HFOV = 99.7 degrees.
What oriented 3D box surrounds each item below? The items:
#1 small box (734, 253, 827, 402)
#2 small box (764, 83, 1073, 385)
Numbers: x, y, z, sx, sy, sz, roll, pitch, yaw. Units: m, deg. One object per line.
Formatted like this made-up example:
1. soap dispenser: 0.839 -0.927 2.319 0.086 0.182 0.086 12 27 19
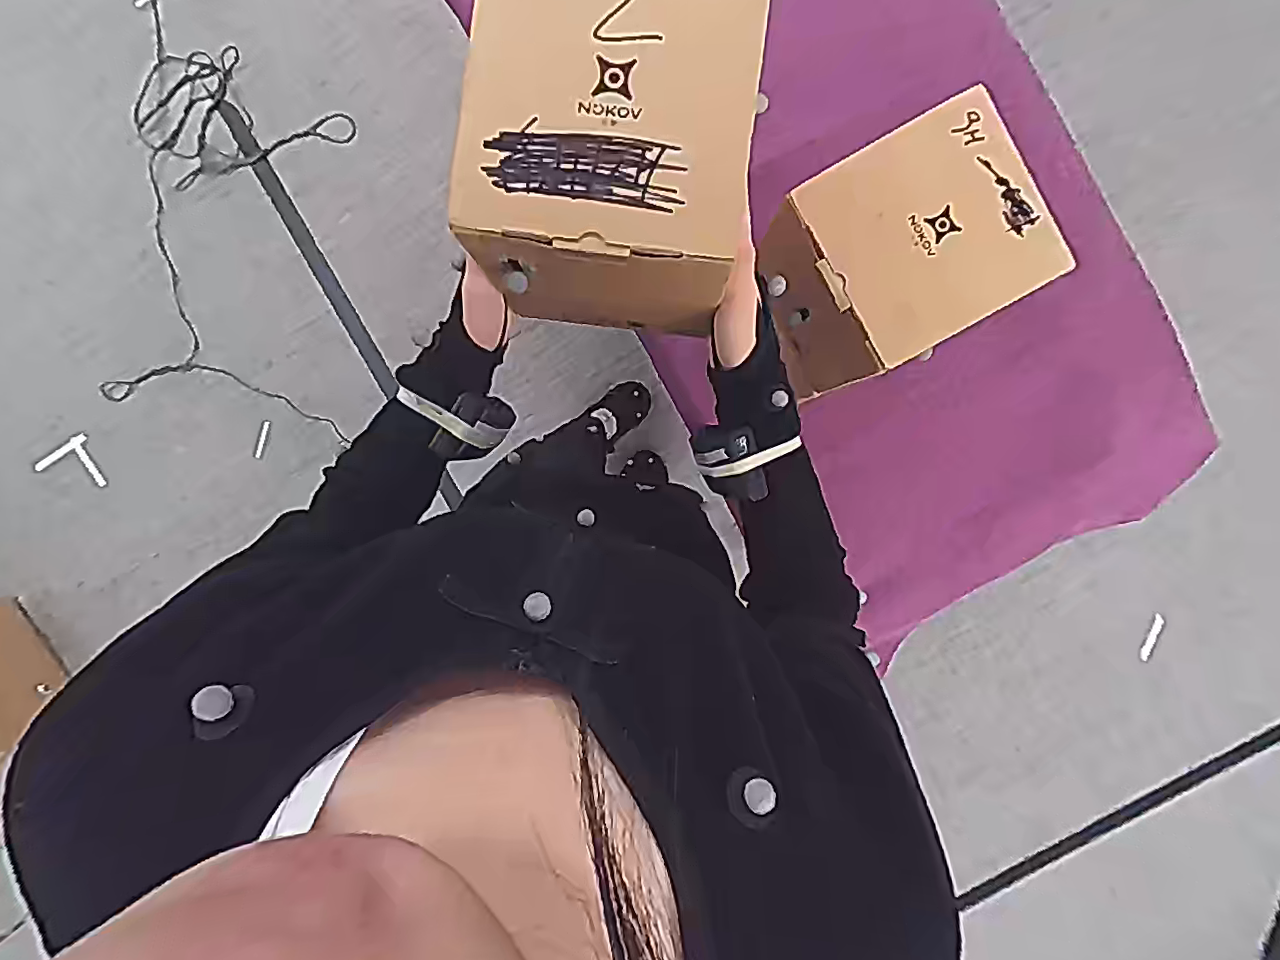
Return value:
1. small box: 0.231 -0.211 0.673 0.179 0.176 0.168 -30 92 2
2. small box: 0.233 -0.204 0.509 0.179 0.176 0.168 -29 92 2
